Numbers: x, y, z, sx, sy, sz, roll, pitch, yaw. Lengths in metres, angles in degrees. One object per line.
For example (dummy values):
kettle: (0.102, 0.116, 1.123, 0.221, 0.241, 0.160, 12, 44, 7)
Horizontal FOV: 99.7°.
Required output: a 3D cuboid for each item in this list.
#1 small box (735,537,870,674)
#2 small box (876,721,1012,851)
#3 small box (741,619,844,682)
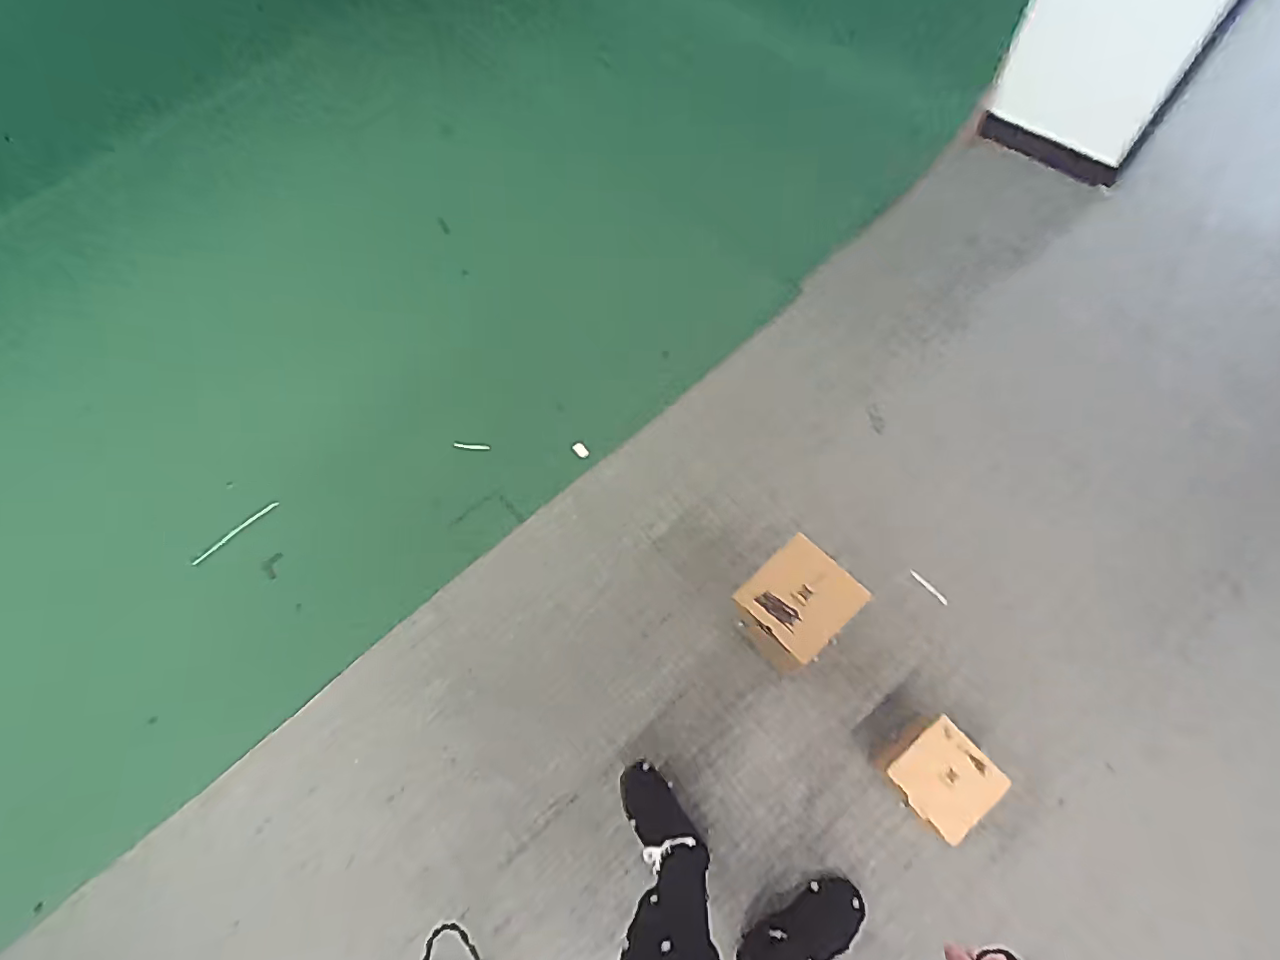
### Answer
small box: (0.300, 0.245, 1.028, 0.179, 0.176, 0.168, -41, 66, -10)
small box: (0.632, 0.642, 1.155, 0.179, 0.176, 0.168, -39, 66, -7)
small box: (0.362, 0.372, 1.325, 0.168, 0.176, 0.179, -40, 66, -9)
